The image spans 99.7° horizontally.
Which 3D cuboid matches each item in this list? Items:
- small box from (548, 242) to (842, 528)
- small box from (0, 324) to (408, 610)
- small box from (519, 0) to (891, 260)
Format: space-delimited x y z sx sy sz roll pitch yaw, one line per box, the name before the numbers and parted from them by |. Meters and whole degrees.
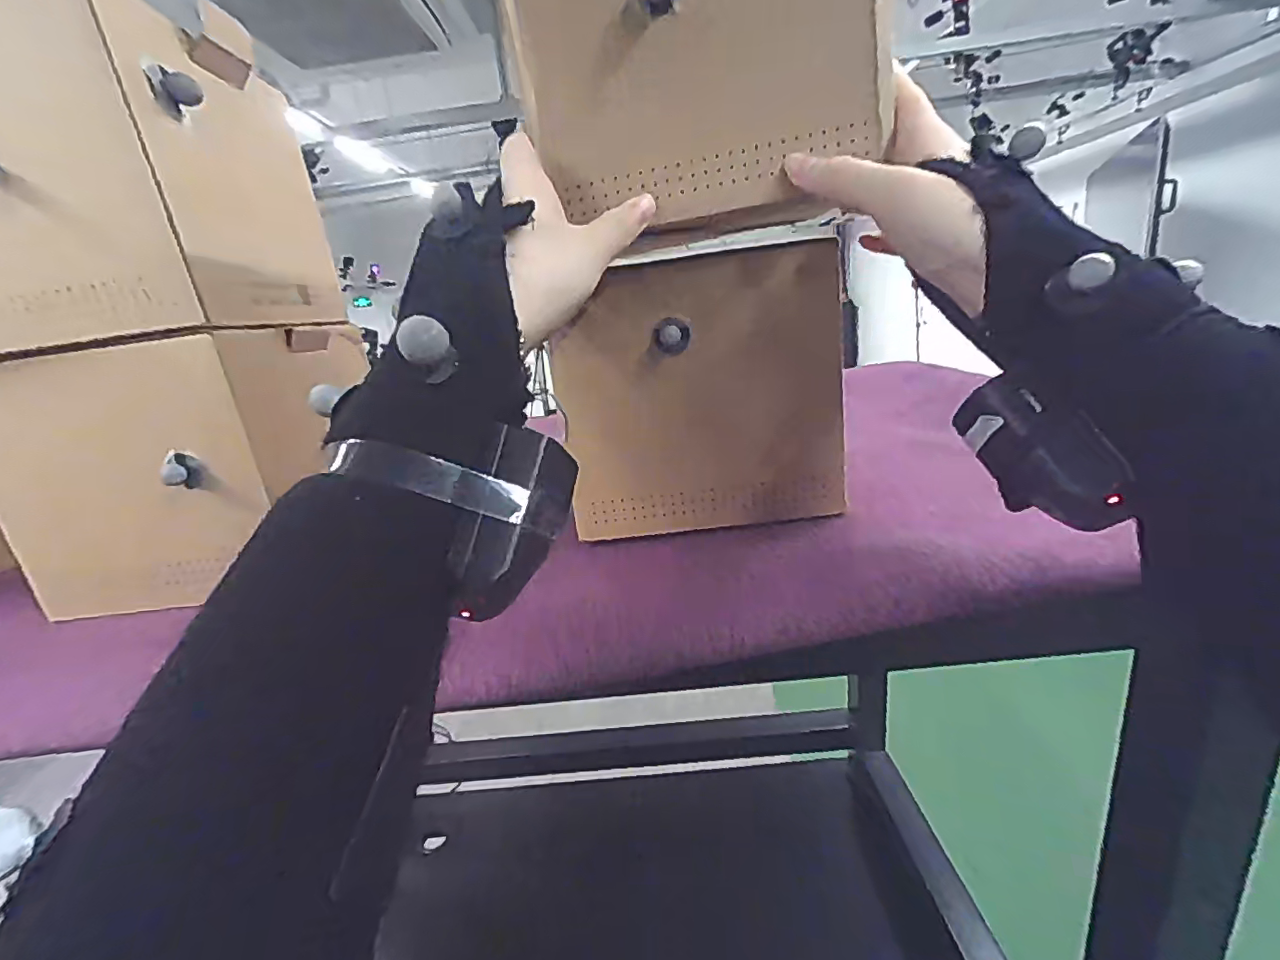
small box | 0.043 -0.068 0.416 0.179 0.176 0.168 -6 14 4
small box | -0.303 -0.020 0.410 0.179 0.176 0.168 -7 16 2
small box | 0.035 -0.236 0.330 0.179 0.176 0.168 -9 19 6
